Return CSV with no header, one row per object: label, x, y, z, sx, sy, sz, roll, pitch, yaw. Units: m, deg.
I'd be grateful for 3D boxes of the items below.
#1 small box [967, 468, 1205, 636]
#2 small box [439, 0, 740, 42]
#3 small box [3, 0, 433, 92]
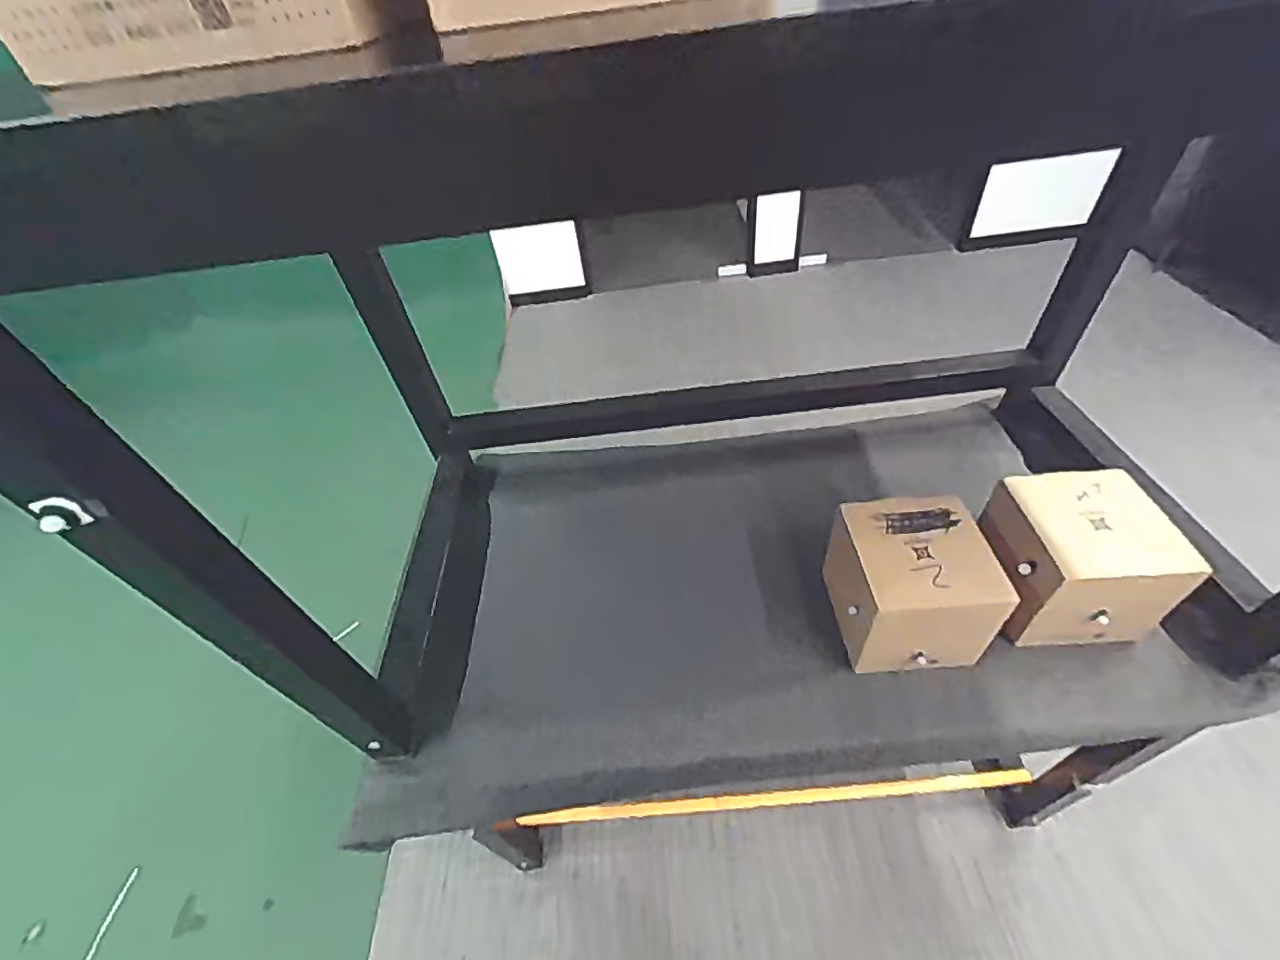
small box,0.597,0.107,0.757,0.168,0.176,0.179,-4,45,5
small box,-0.027,-0.334,0.262,0.168,0.176,0.179,-5,45,4
small box,-0.222,-0.311,0.265,0.168,0.176,0.179,-5,47,3
